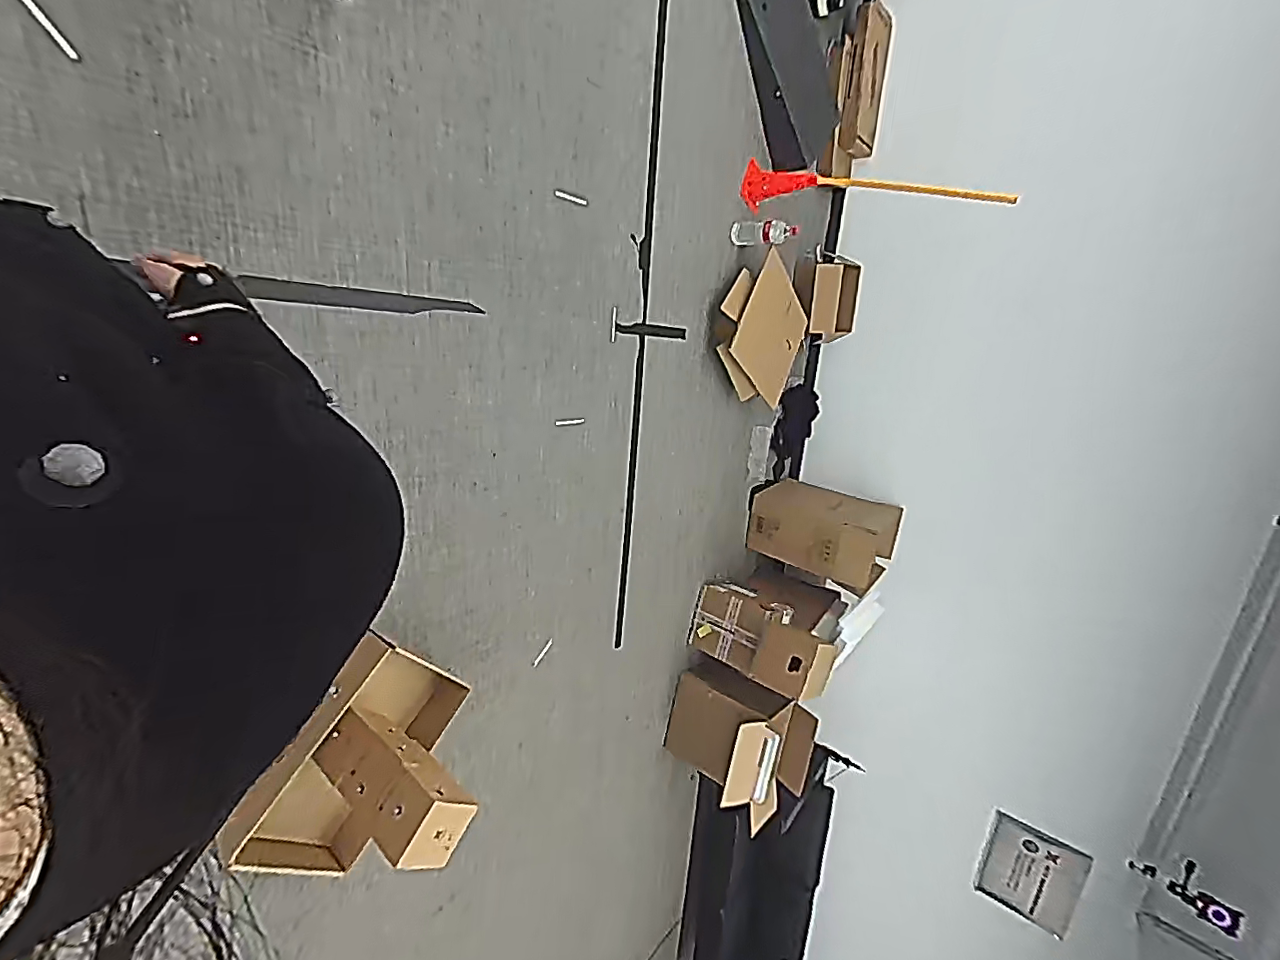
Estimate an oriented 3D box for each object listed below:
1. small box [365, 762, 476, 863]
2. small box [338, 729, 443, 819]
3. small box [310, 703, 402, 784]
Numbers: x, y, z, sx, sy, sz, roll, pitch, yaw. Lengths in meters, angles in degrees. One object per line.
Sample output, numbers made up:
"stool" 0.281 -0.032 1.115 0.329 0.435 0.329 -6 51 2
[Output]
"small box" -0.581 0.876 1.429 0.168 0.176 0.179 -59 142 -17
"small box" -0.706 0.832 1.529 0.168 0.176 0.179 -59 143 -17
"small box" -0.836 0.797 1.619 0.168 0.176 0.179 -57 141 -21
